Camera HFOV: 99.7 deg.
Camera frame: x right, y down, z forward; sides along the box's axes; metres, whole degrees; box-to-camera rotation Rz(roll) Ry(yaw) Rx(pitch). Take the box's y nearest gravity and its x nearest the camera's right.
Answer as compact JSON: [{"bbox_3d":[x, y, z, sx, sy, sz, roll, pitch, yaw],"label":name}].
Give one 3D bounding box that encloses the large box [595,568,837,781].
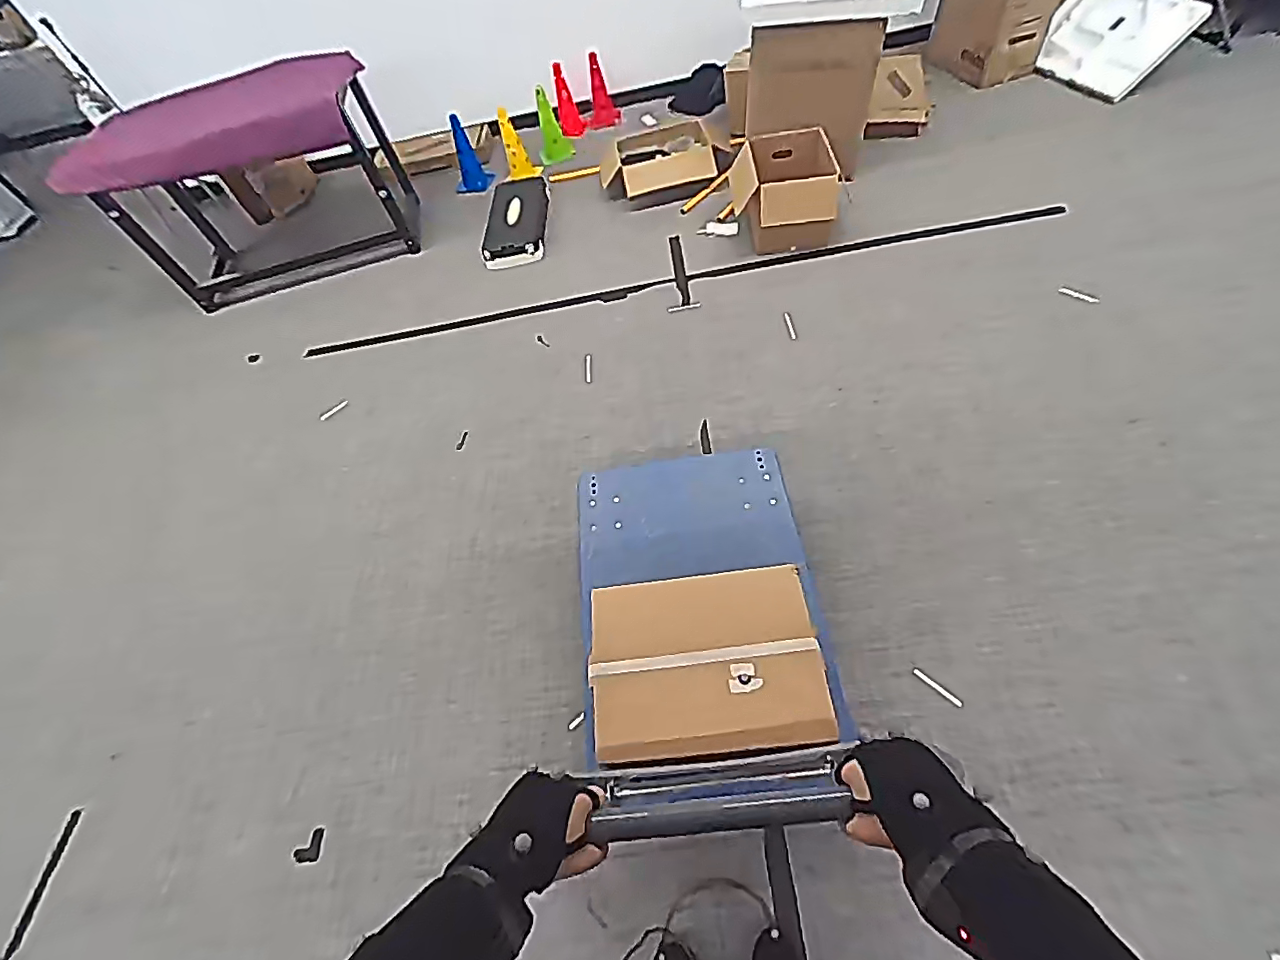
[{"bbox_3d":[0.137,0.410,1.109,0.408,0.320,0.320,-8,57,3],"label":"large box"}]
